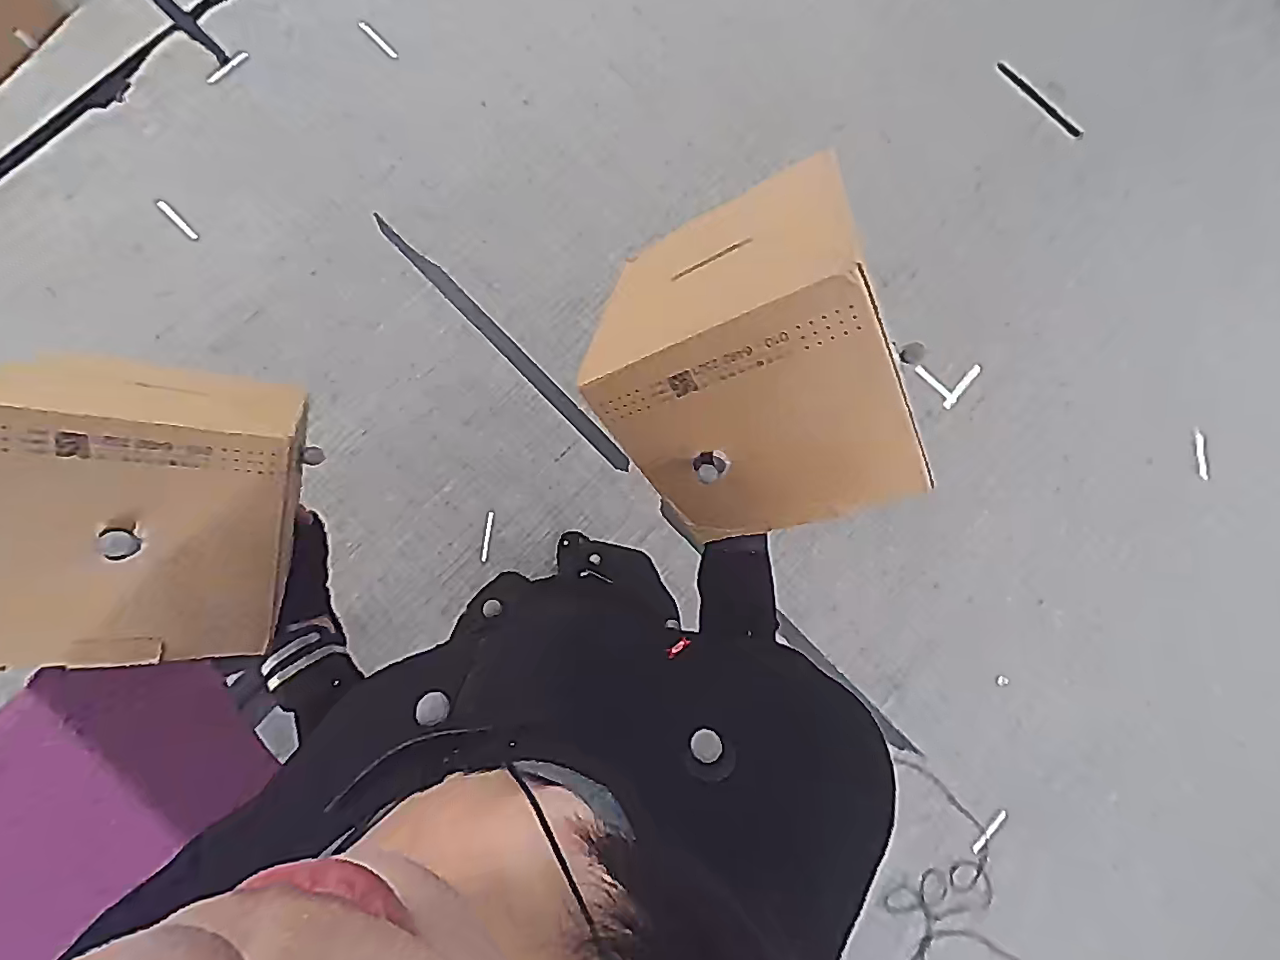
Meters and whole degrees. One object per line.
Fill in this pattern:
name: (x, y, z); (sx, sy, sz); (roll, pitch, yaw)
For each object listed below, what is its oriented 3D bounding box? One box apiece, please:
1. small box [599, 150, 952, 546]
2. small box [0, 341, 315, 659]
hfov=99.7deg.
small box: (0.092, -0.084, 0.372); (0.168, 0.176, 0.179); (-15, 40, 28)
small box: (-0.343, 0.005, 0.388); (0.168, 0.179, 0.176); (9, 105, -29)
